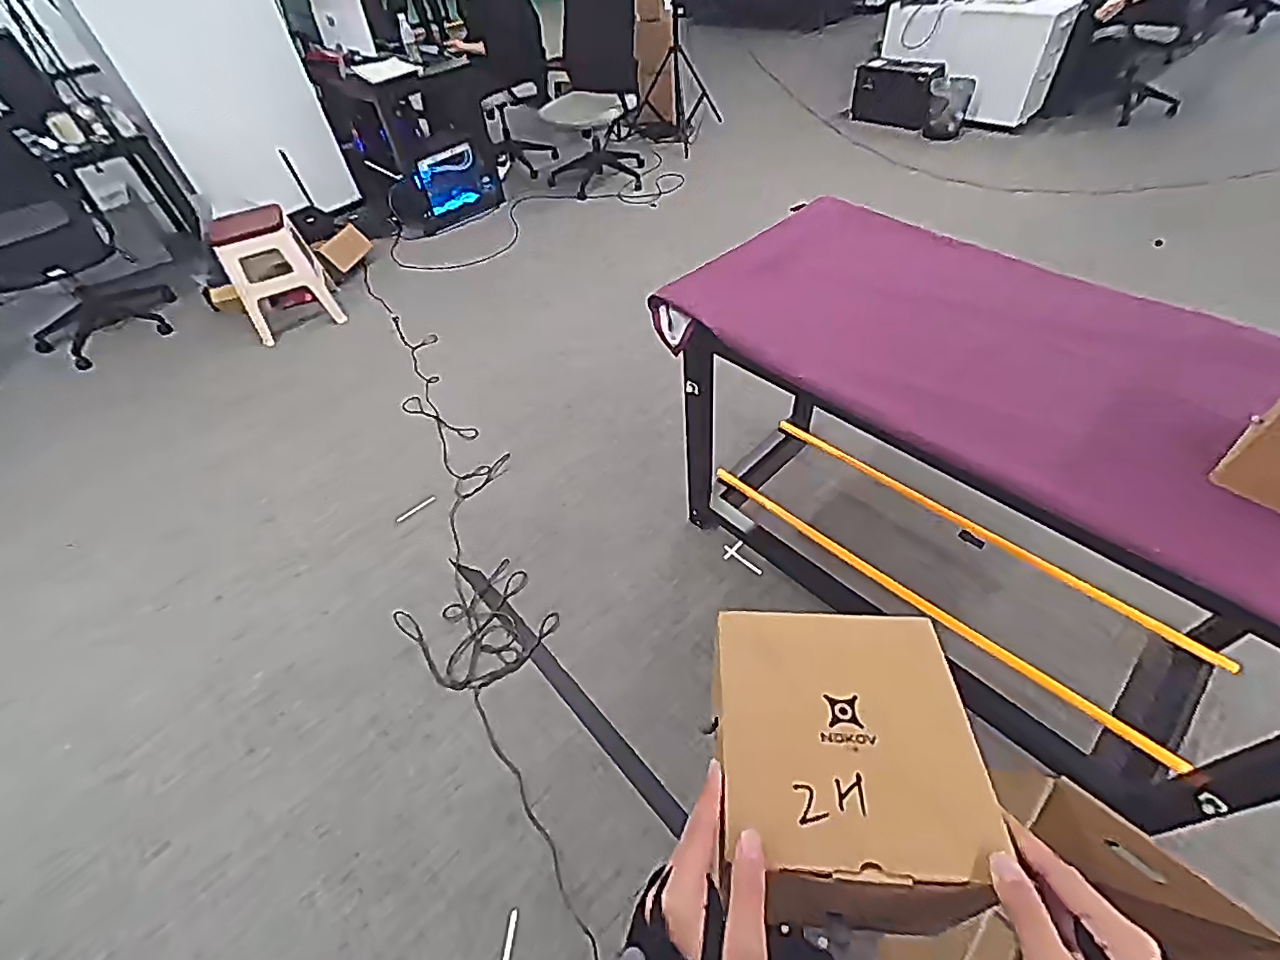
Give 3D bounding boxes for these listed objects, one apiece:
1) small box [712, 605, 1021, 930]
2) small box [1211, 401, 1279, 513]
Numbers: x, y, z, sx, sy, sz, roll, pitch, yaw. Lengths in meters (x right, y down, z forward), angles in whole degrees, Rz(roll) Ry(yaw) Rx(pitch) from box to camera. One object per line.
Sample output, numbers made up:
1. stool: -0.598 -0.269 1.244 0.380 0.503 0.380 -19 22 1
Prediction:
1. small box: 0.143 0.220 0.423 0.168 0.176 0.179 0 43 6
2. small box: 0.902 -0.042 0.676 0.168 0.176 0.179 -32 52 -22
